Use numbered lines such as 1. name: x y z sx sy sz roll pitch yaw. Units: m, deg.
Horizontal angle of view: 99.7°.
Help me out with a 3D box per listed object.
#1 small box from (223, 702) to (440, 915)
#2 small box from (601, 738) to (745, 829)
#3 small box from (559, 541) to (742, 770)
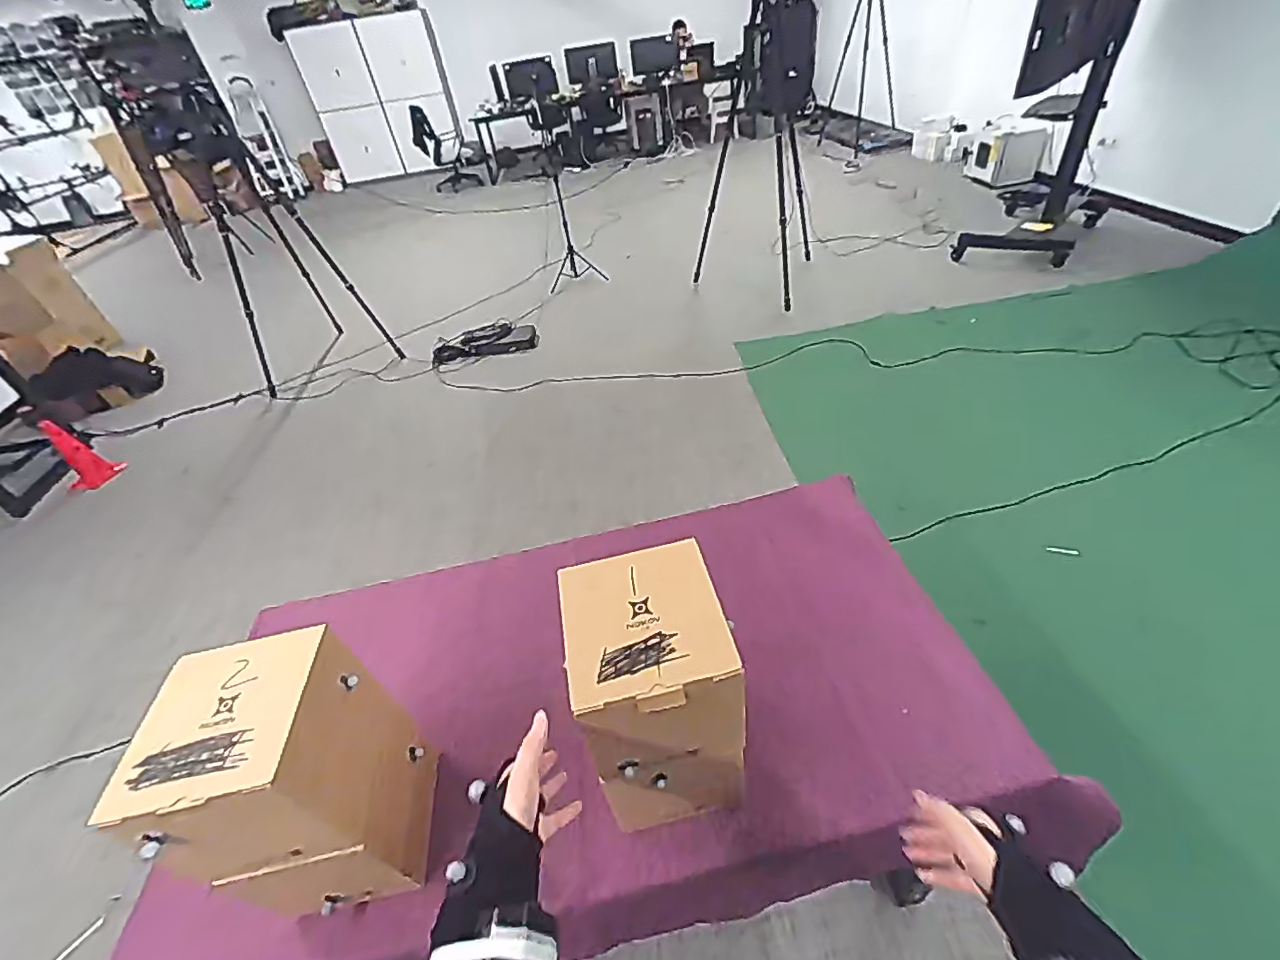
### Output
1. small box: -0.374 0.423 0.699 0.168 0.176 0.179 -13 42 -1
2. small box: 0.035 0.326 0.721 0.168 0.176 0.179 -14 40 -2
3. small box: 0.013 0.203 0.614 0.168 0.176 0.179 -13 41 -3
